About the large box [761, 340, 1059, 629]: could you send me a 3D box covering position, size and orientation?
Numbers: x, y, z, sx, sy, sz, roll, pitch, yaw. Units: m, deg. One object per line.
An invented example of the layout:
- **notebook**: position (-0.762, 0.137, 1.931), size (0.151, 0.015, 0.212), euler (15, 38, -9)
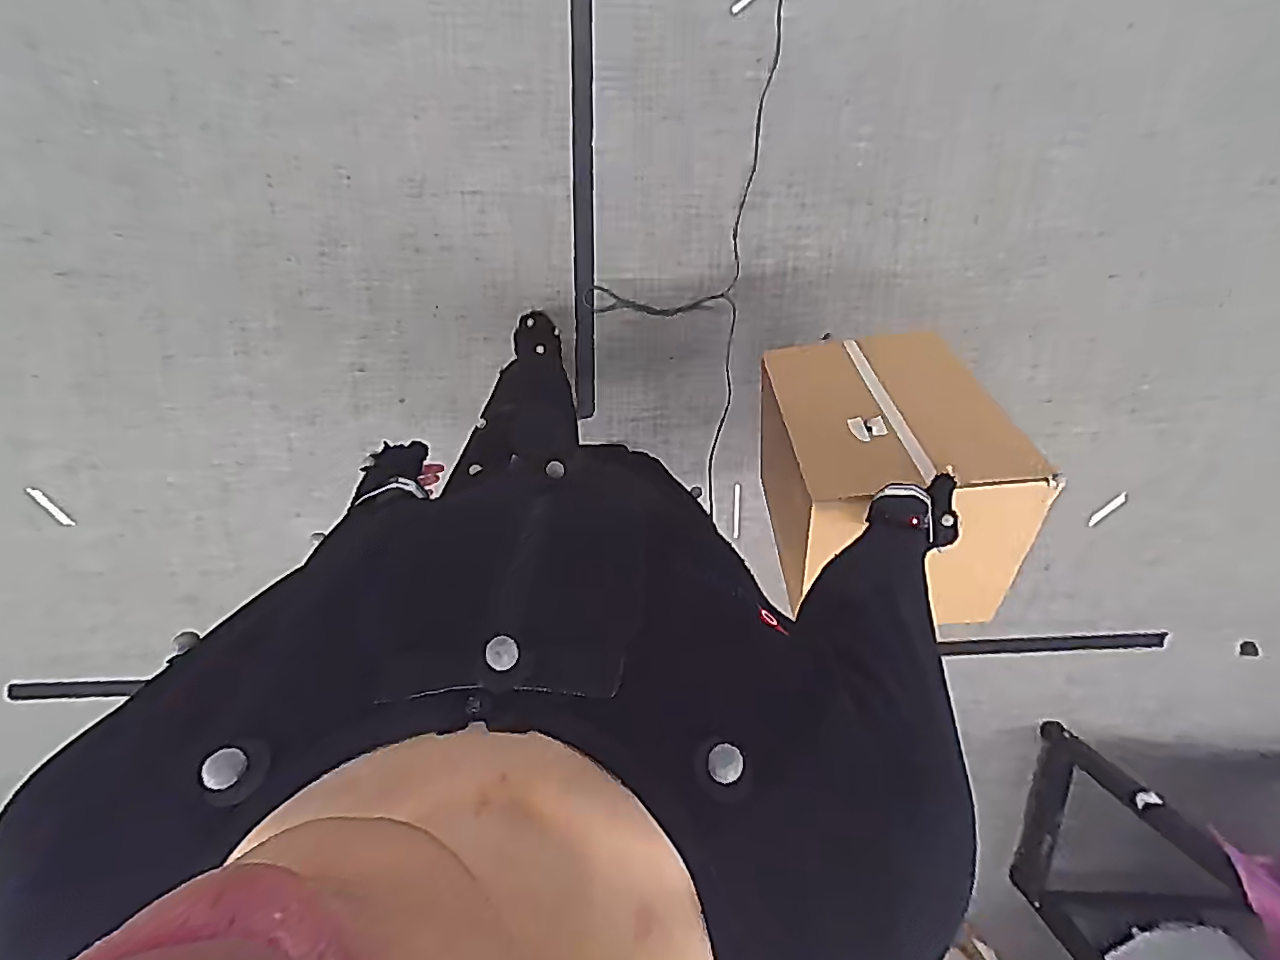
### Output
- **large box**: position (0.407, -0.001, 0.955), size (0.320, 0.408, 0.320), euler (-6, 132, 5)
